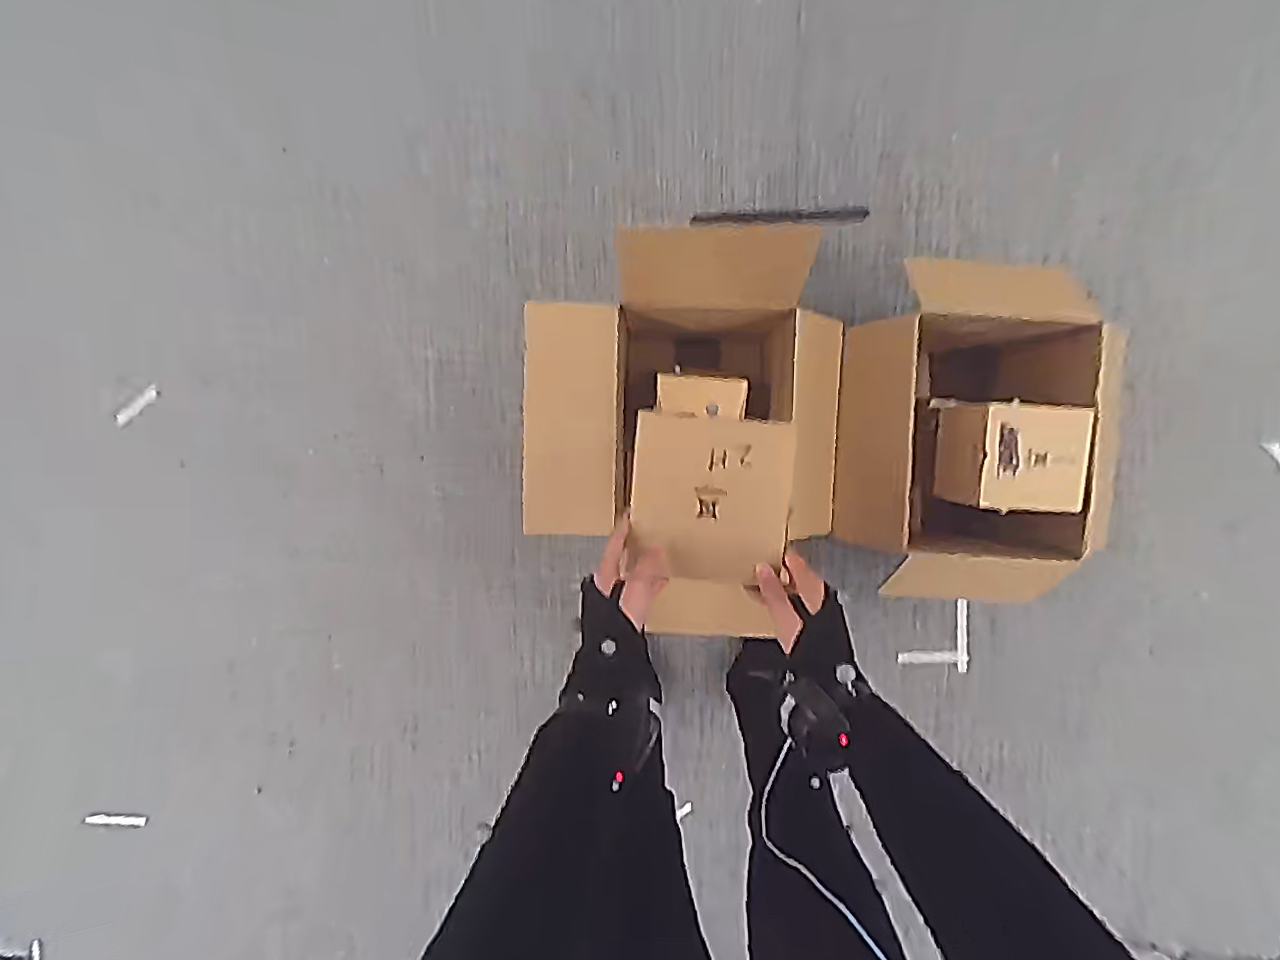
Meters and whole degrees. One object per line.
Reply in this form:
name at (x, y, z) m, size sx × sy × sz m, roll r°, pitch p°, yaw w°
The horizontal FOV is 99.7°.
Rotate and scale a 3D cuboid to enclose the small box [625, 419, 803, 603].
small box at (0.079, 0.024, 0.630) m, size 0.168 × 0.176 × 0.179 m, roll 6°, pitch 96°, yaw 3°
